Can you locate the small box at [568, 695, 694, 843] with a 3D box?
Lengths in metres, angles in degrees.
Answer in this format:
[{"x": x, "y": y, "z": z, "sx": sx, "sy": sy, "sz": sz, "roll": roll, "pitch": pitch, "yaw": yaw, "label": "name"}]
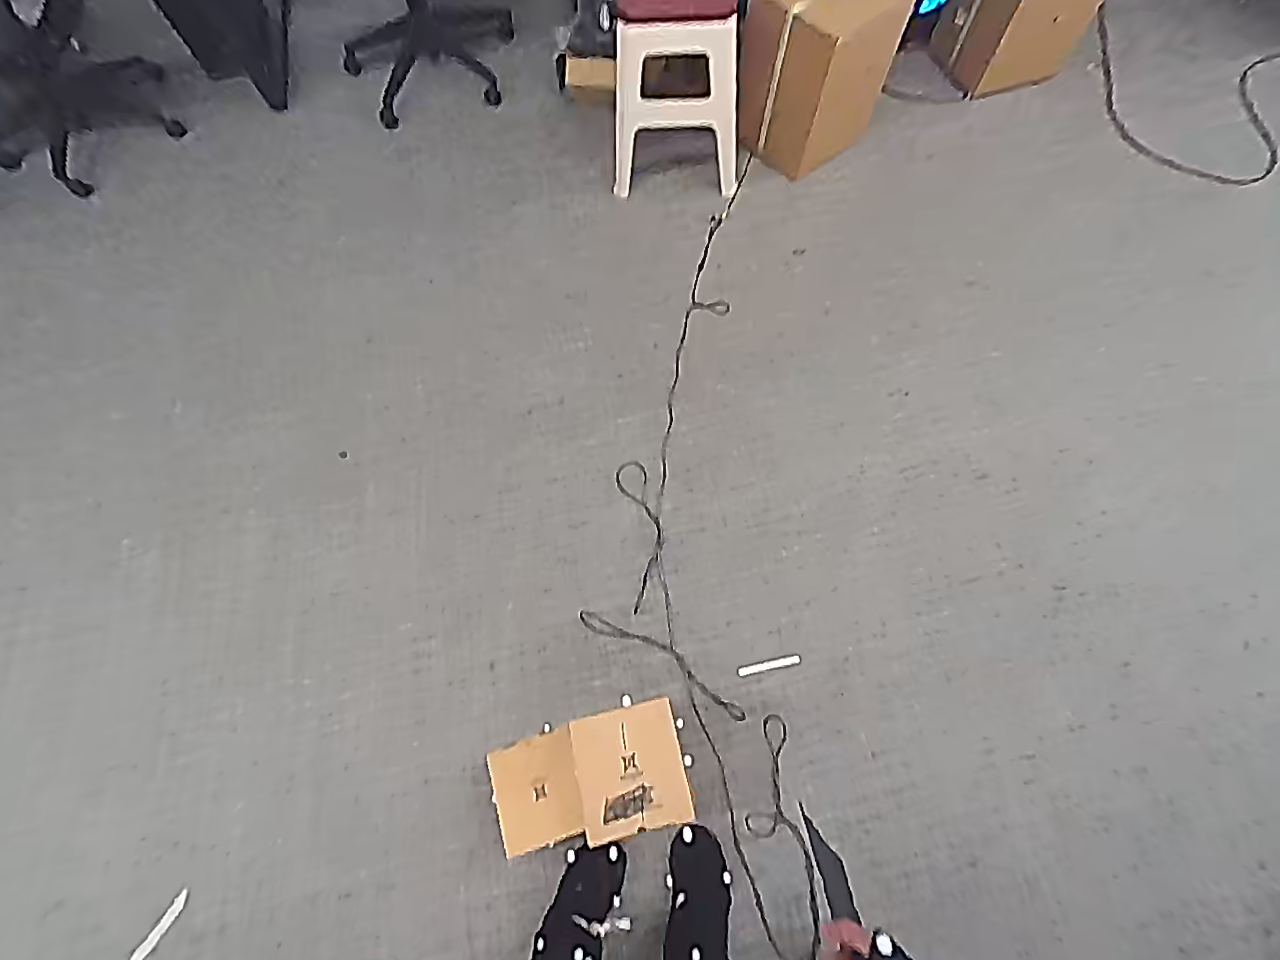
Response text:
[{"x": -0.011, "y": 0.463, "z": 0.893, "sx": 0.168, "sy": 0.176, "sz": 0.179, "roll": -13, "pitch": 67, "yaw": -2, "label": "small box"}]
